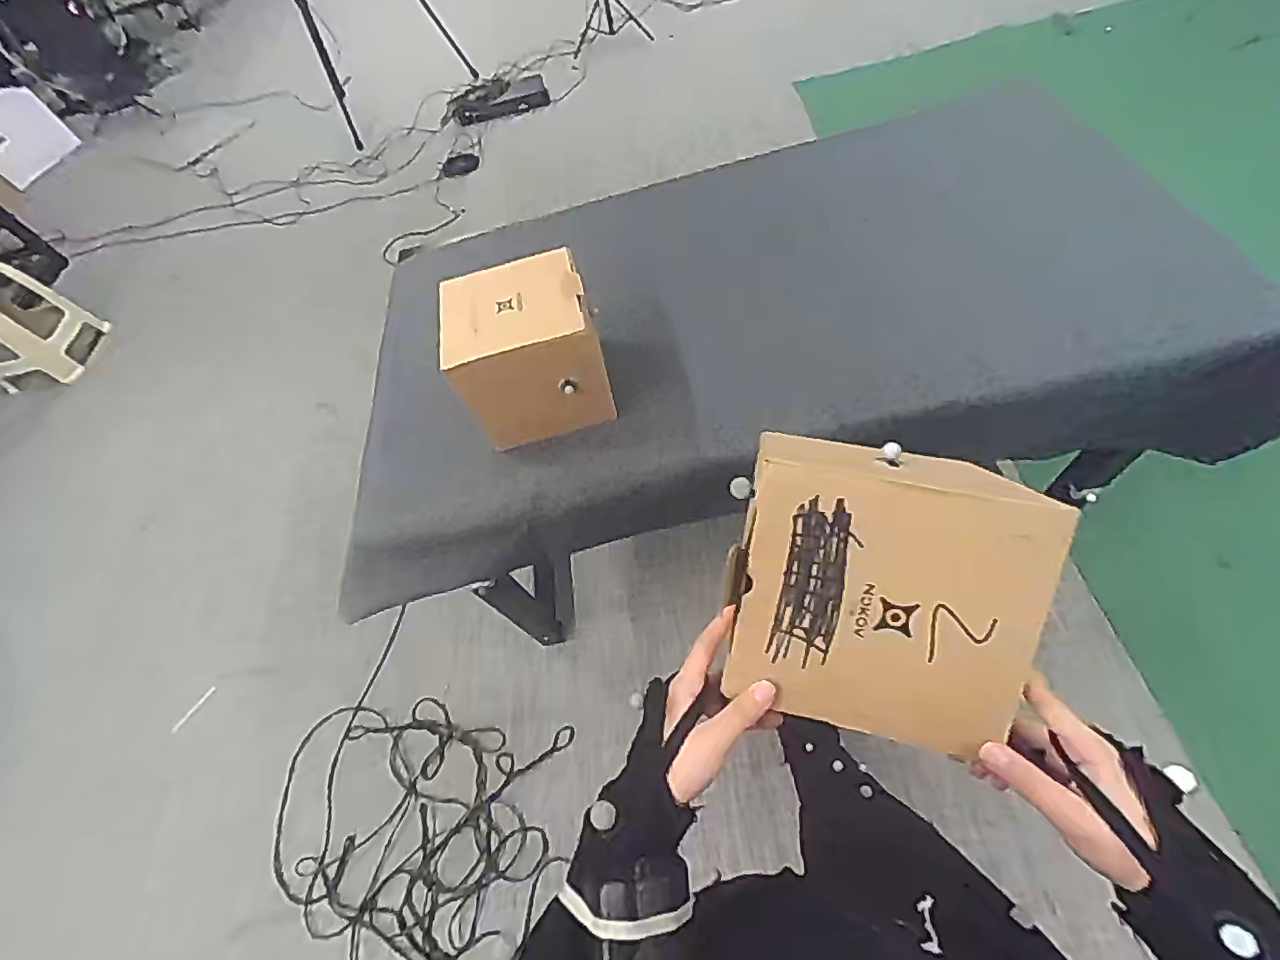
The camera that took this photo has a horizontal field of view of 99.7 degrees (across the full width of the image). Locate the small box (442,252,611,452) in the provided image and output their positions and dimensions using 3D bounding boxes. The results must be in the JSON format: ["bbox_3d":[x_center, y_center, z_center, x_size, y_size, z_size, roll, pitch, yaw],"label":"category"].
[{"bbox_3d":[-0.143,-0.163,0.719,0.179,0.176,0.168,-16,56,2],"label":"small box"}]
